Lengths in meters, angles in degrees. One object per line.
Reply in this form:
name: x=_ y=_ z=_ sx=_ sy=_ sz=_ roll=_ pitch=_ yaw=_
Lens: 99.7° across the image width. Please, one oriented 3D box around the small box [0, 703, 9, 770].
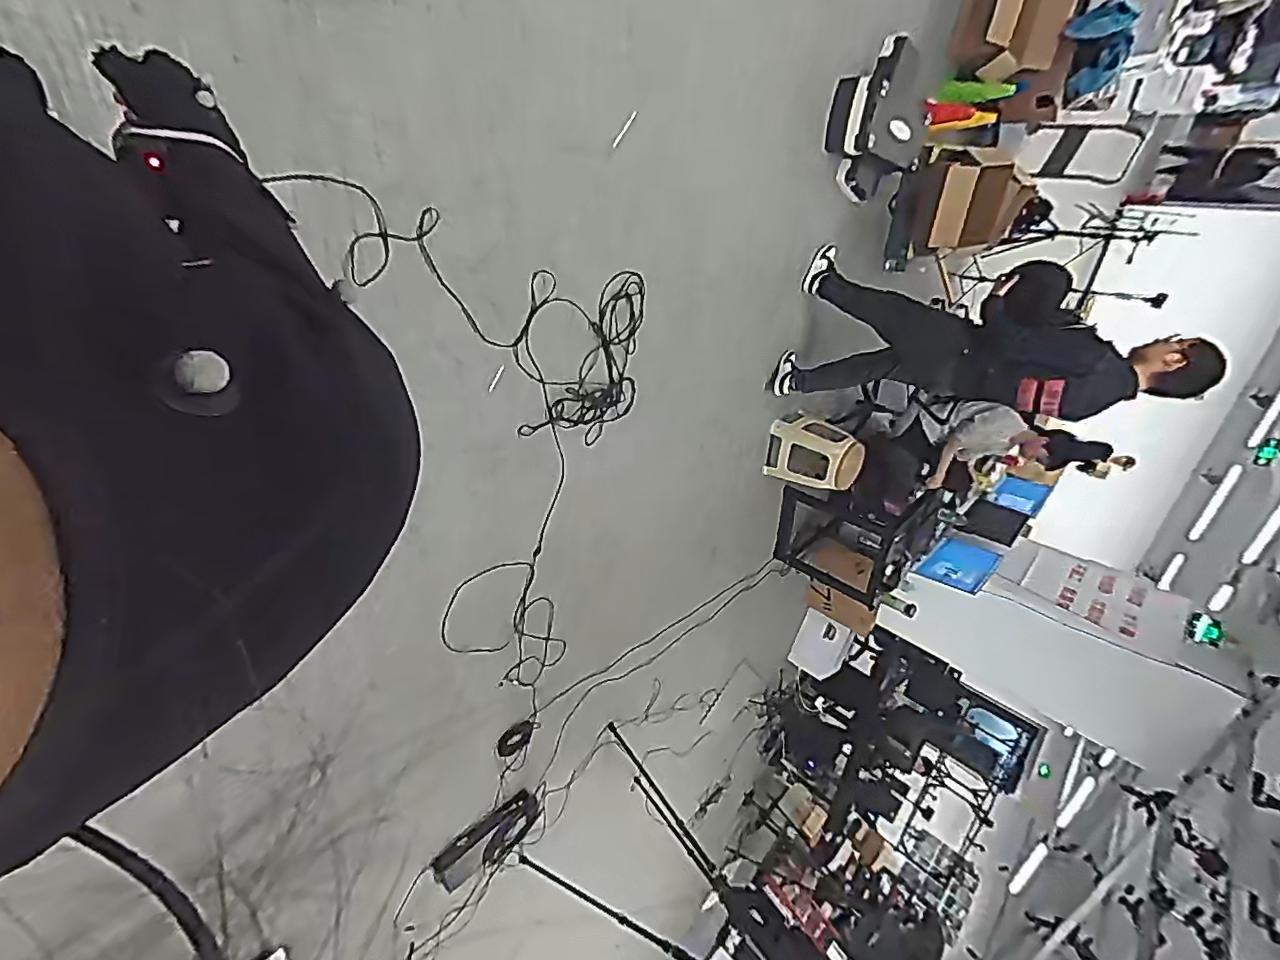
small box: x=-1.346 y=0.481 z=1.015 sx=0.168 sy=0.176 sz=0.179 roll=-23 pitch=127 yaw=-39
